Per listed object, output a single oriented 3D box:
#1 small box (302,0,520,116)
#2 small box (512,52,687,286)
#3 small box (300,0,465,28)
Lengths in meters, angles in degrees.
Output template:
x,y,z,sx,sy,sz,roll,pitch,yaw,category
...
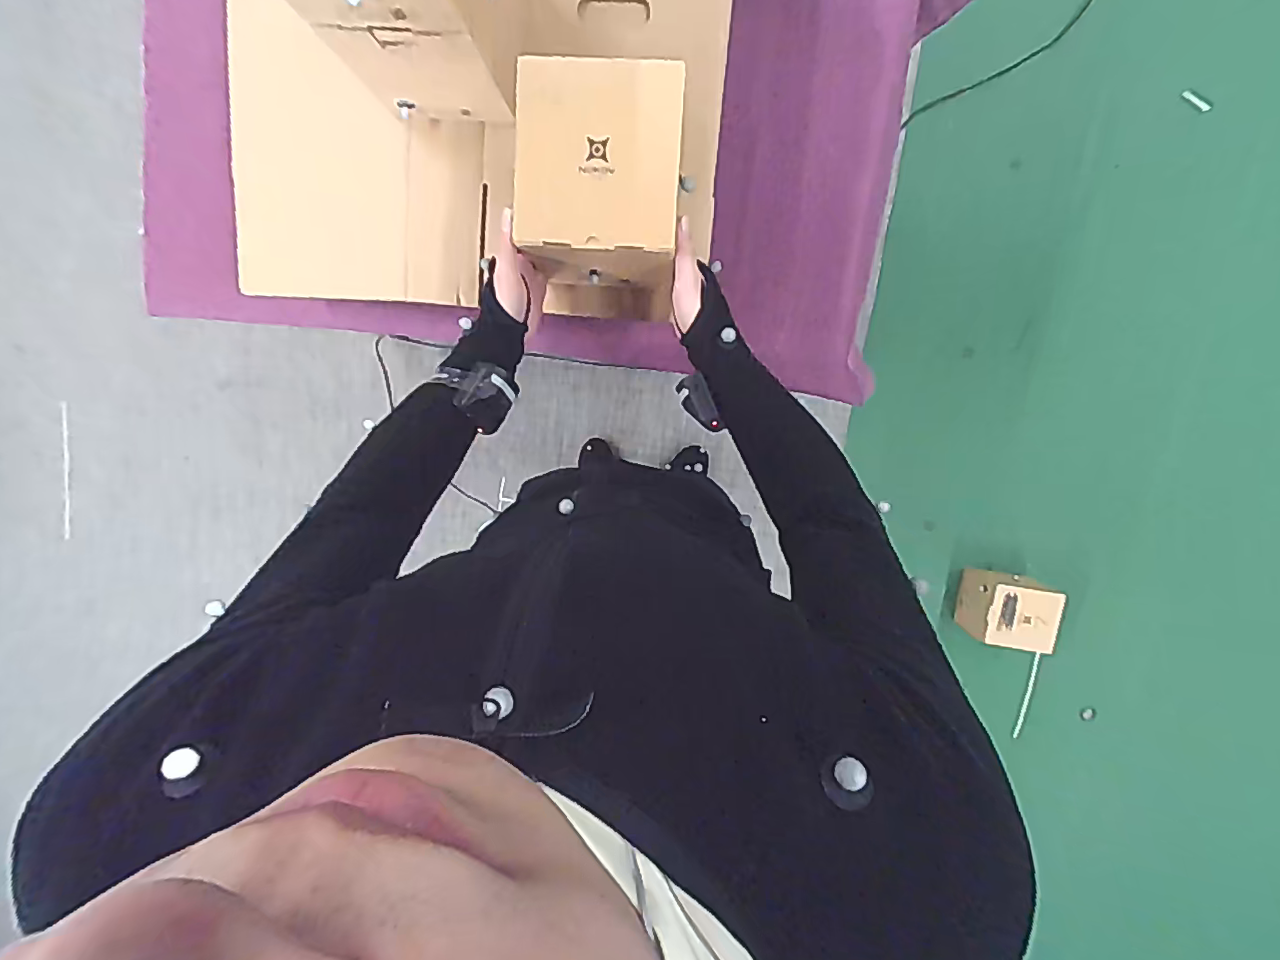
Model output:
x,y,z,sx,sy,sz,roll,pitch,yaw,category
-0.233,-0.530,0.585,0.168,0.176,0.179,5,98,2,small box
-0.038,-0.329,0.604,0.168,0.176,0.179,3,99,3,small box
-0.242,-0.511,0.422,0.168,0.176,0.179,5,99,2,small box
